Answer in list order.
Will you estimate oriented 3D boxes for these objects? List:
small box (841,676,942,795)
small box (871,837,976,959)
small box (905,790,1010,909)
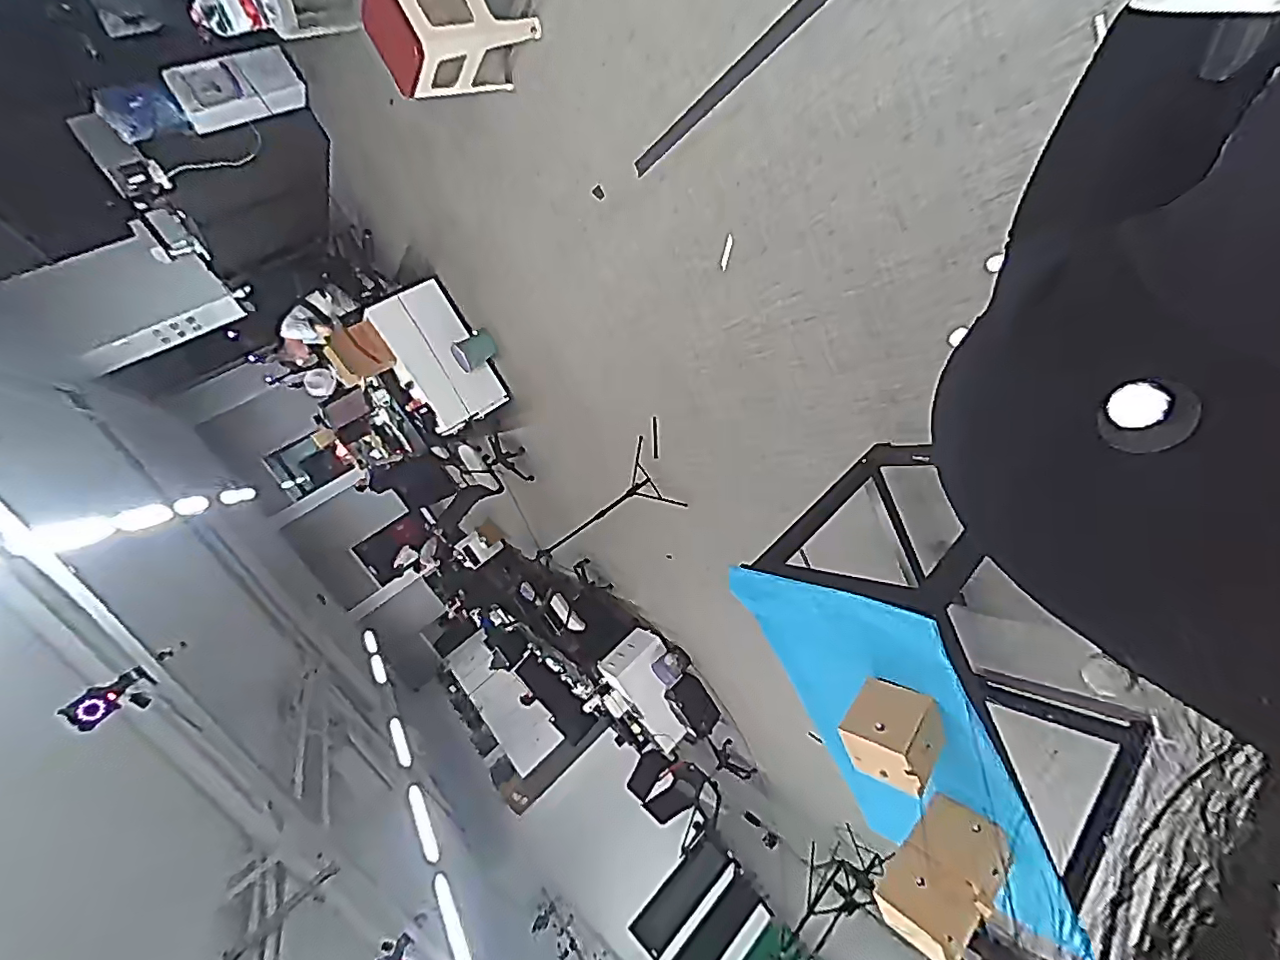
[{"bbox_3d":[0.623,0.630,1.352,0.176,0.179,0.168,4,127,49],"label":"small box"},{"bbox_3d":[0.740,1.101,1.412,0.179,0.176,0.168,10,132,53],"label":"small box"},{"bbox_3d":[0.860,1.003,1.470,0.179,0.176,0.168,7,129,56],"label":"small box"}]
